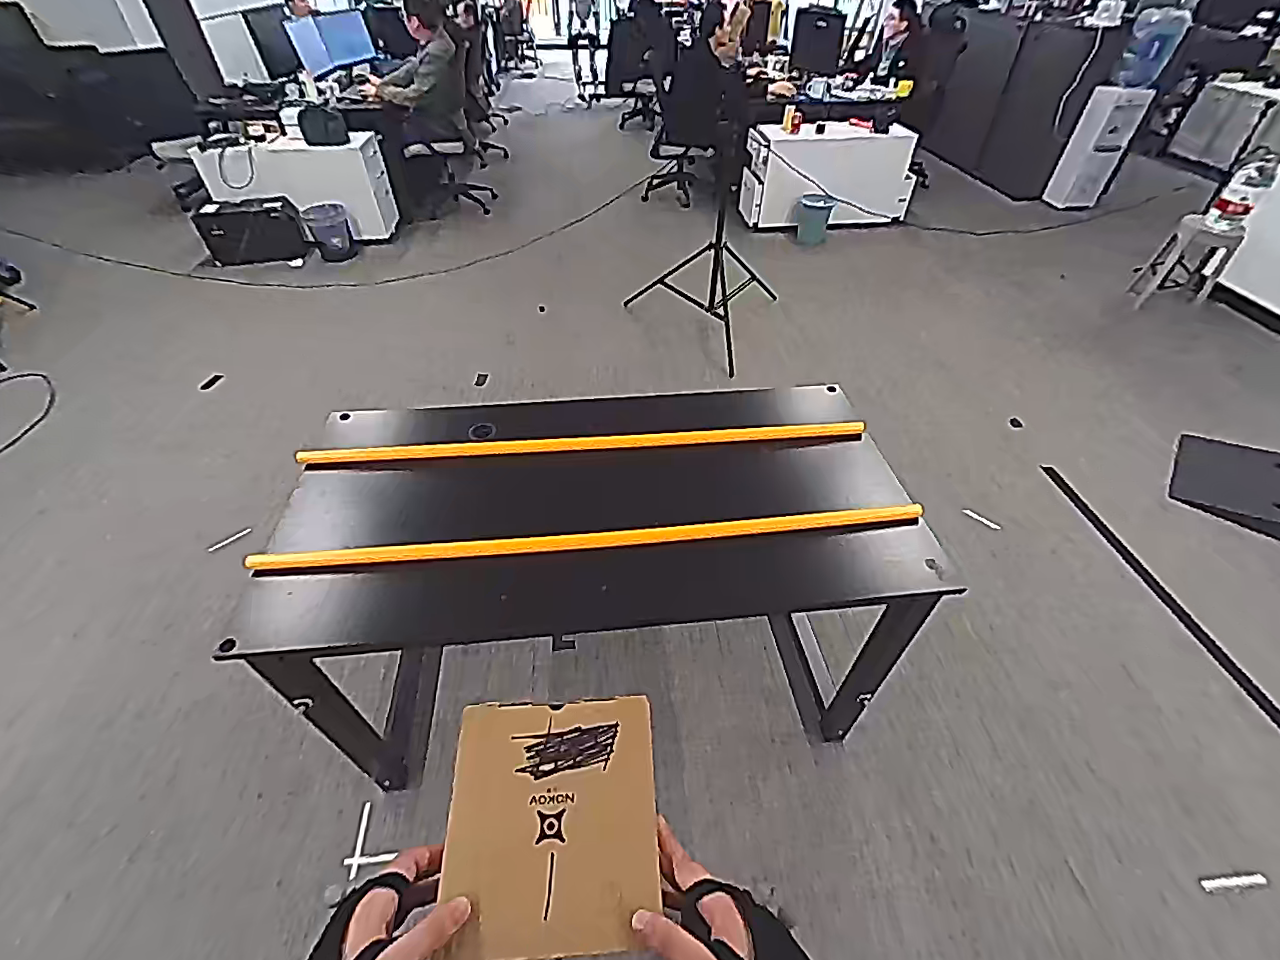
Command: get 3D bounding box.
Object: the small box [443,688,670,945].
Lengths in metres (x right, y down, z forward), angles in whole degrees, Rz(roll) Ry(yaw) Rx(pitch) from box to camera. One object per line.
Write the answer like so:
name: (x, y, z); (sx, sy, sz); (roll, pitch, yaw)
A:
small box: (-0.065, 0.310, 0.500); (0.168, 0.176, 0.179); (-2, 51, -3)
